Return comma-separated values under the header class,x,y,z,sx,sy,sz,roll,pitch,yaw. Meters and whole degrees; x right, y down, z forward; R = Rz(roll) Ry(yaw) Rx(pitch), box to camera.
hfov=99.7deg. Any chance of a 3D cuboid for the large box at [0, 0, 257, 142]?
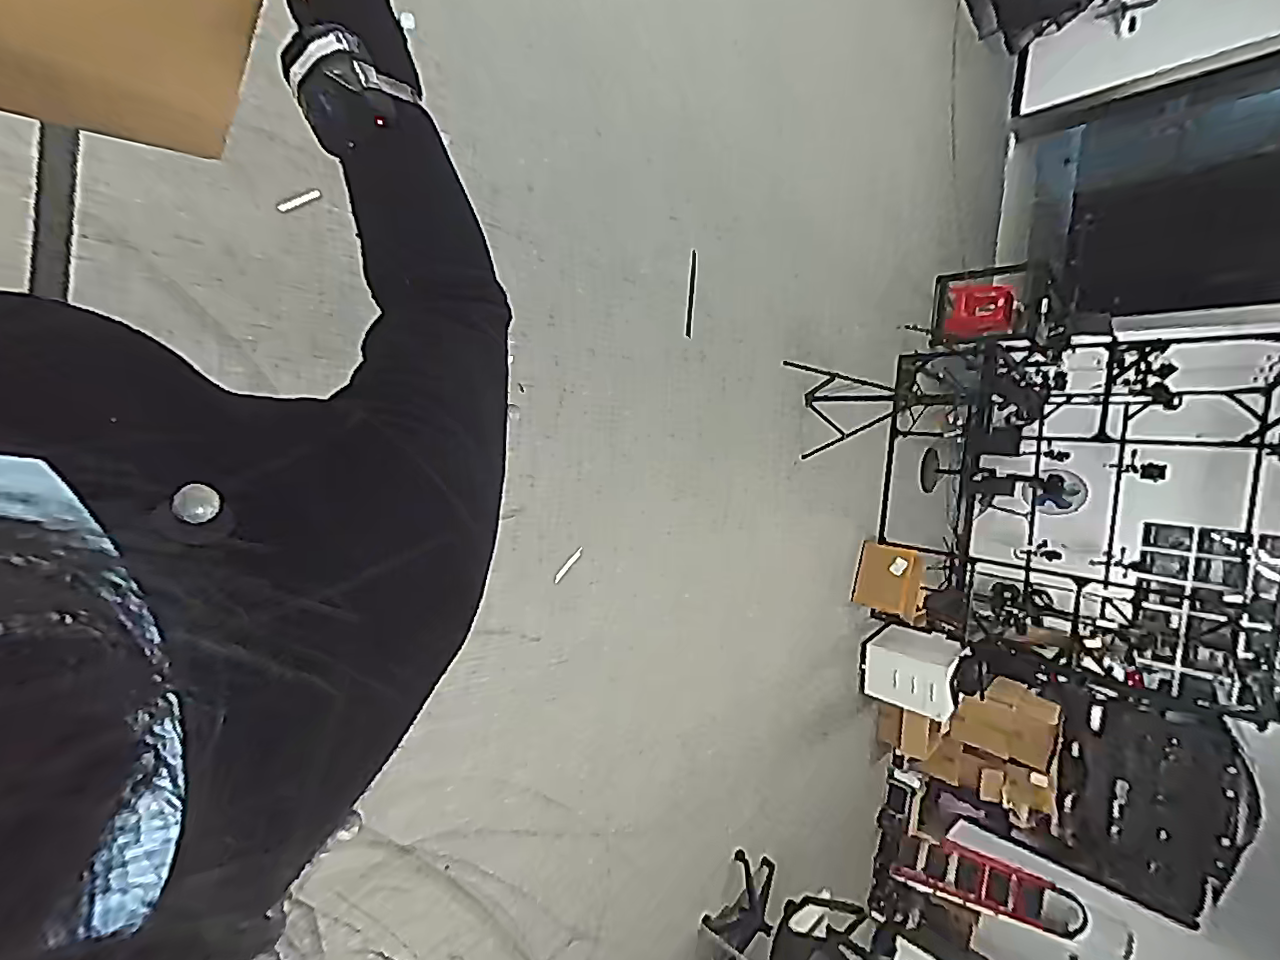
class,x,y,z,sx,sy,sz,roll,pitch,yaw
large box,-0.514,-0.475,0.329,0.408,0.320,0.320,-10,98,-42
